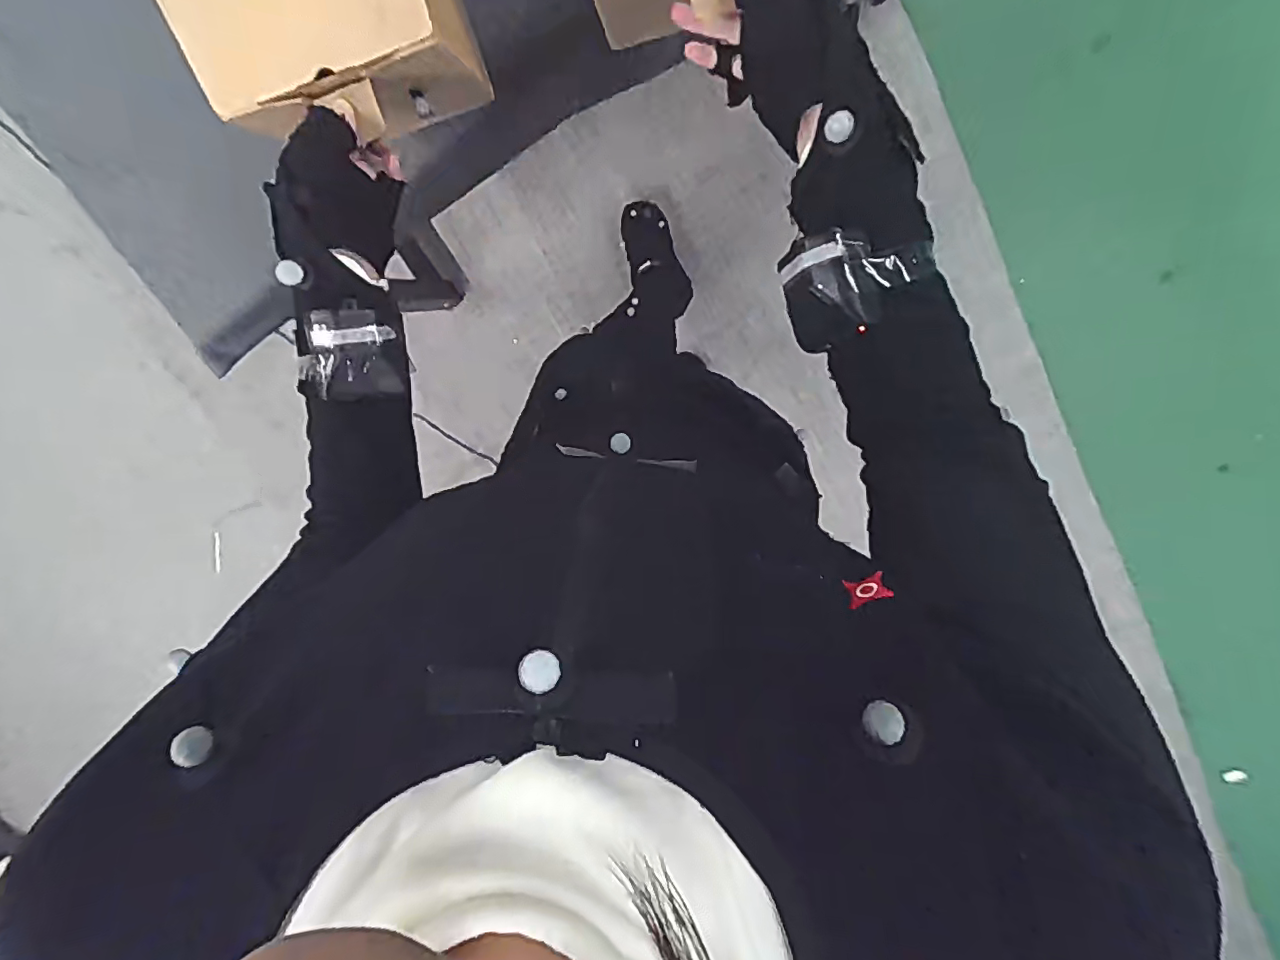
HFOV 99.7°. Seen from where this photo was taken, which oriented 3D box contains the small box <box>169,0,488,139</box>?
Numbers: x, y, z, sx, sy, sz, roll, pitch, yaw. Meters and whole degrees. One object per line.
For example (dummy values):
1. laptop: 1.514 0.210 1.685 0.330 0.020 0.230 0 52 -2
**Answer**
1. small box: -0.236 -0.384 0.408 0.168 0.176 0.179 -17 111 5
